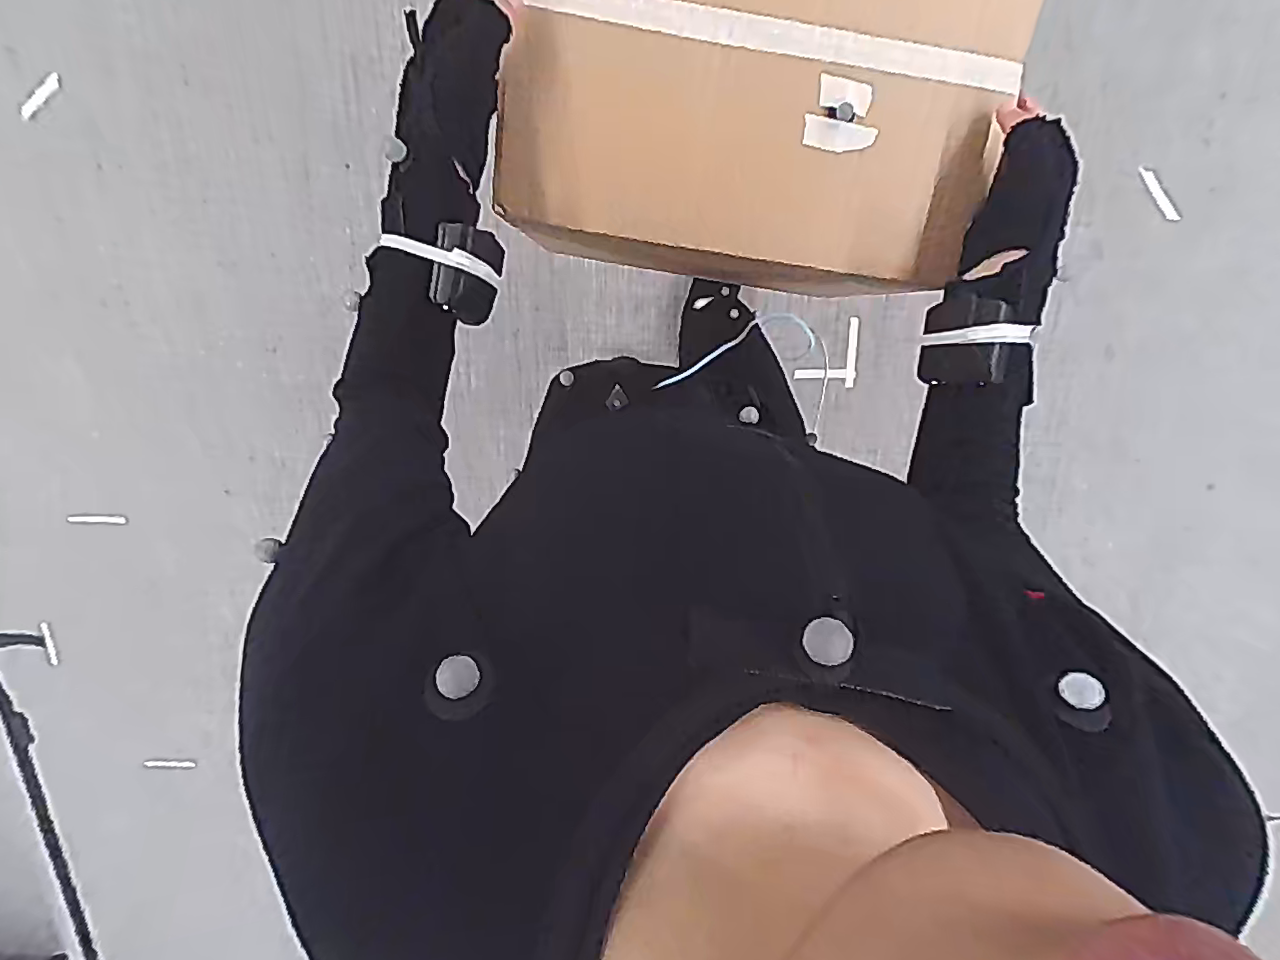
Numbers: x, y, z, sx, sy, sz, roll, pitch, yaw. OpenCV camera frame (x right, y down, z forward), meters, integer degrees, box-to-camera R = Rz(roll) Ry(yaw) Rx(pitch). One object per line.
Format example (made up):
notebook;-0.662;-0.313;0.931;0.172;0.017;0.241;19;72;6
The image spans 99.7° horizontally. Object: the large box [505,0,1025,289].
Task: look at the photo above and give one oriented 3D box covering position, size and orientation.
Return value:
large box;0.093;-0.396;0.572;0.408;0.320;0.320;8;108;-5
